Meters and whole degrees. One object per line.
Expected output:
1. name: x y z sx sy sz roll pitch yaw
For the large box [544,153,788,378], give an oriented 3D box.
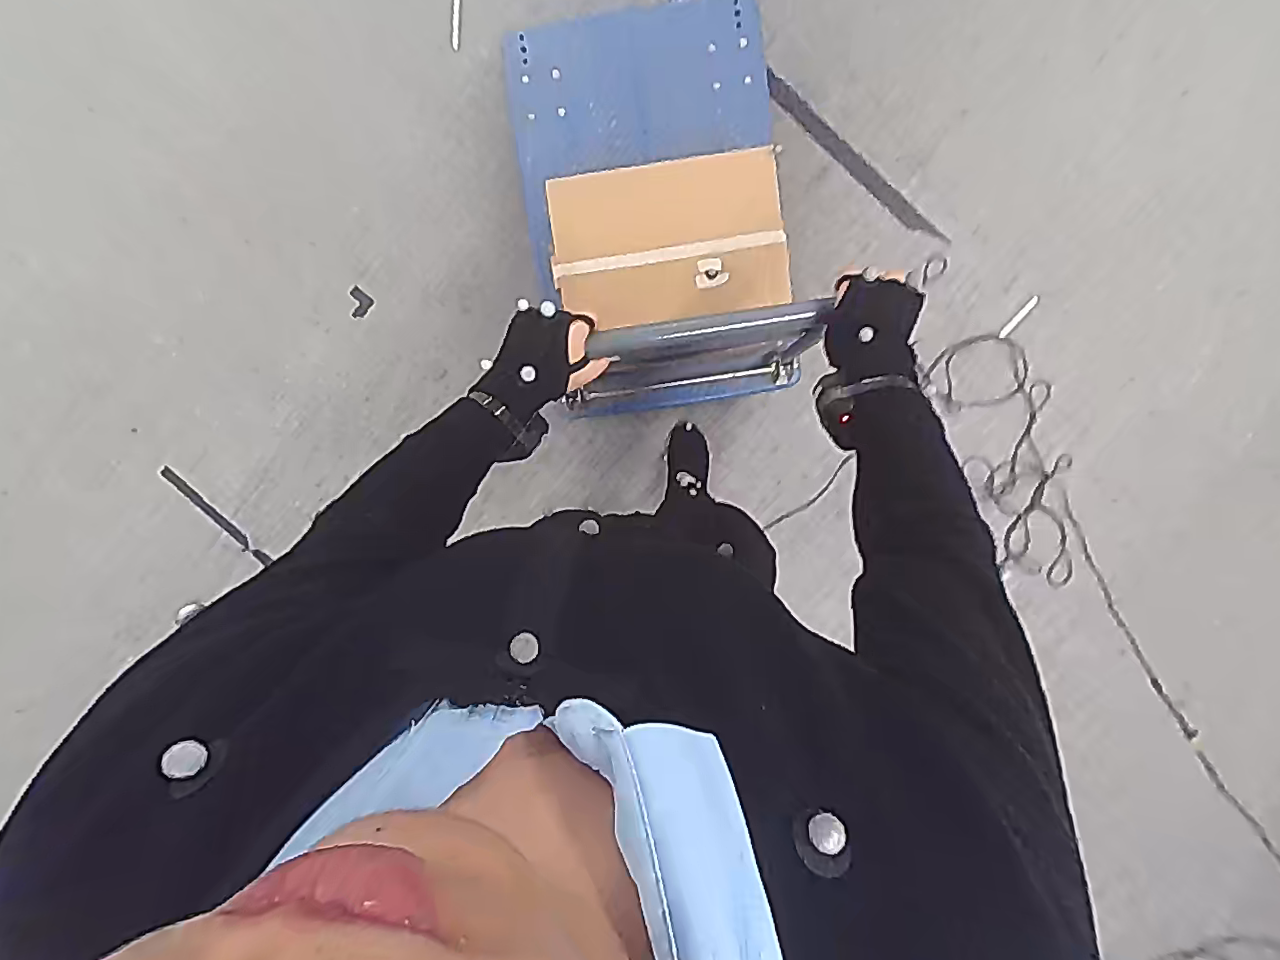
1. large box: 0.048 -0.405 1.107 0.408 0.320 0.320 -8 96 1
